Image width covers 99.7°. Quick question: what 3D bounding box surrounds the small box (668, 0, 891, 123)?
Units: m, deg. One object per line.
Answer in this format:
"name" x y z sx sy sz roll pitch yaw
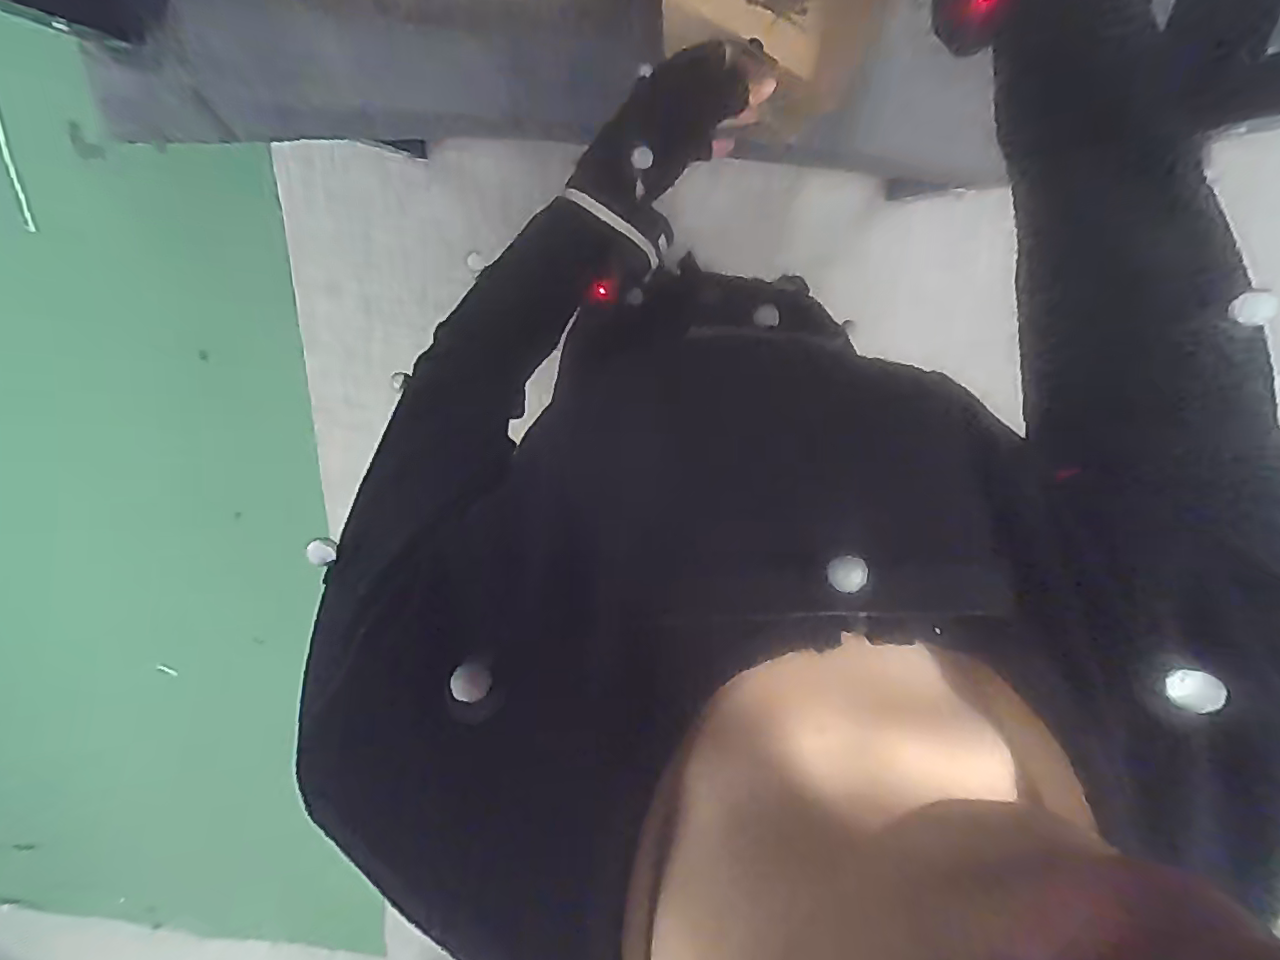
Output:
"small box" 0.134 -0.448 0.466 0.168 0.176 0.179 26 112 -9
